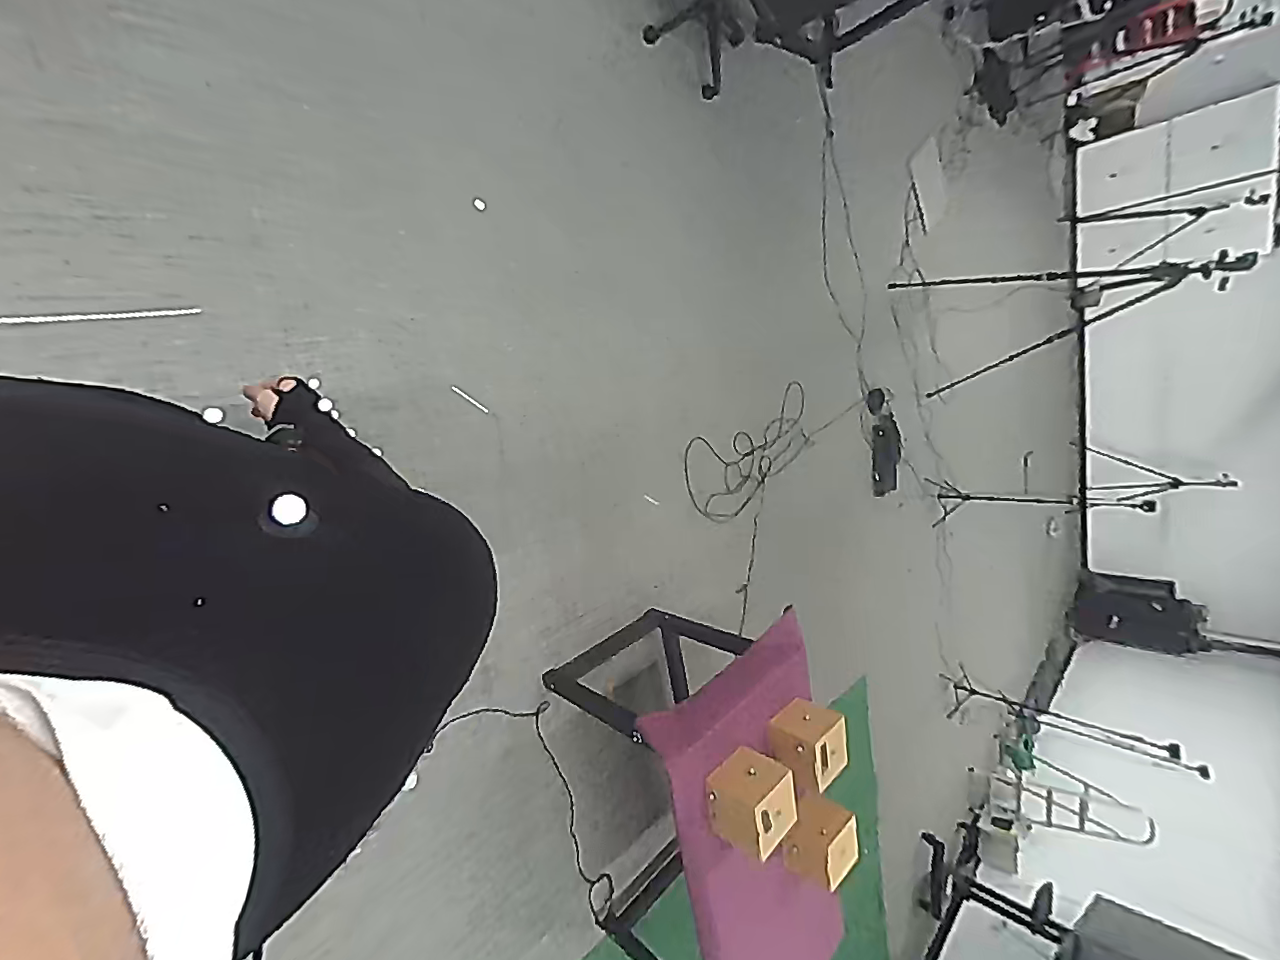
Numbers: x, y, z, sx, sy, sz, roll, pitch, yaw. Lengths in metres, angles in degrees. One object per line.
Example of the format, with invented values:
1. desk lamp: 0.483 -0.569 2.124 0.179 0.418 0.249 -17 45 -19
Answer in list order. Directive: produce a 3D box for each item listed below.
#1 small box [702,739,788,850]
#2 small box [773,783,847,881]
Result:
1. small box: 0.285 0.858 1.495 0.179 0.176 0.168 -19 106 -42
2. small box: 0.554 1.137 1.766 0.179 0.176 0.168 -16 104 -40
